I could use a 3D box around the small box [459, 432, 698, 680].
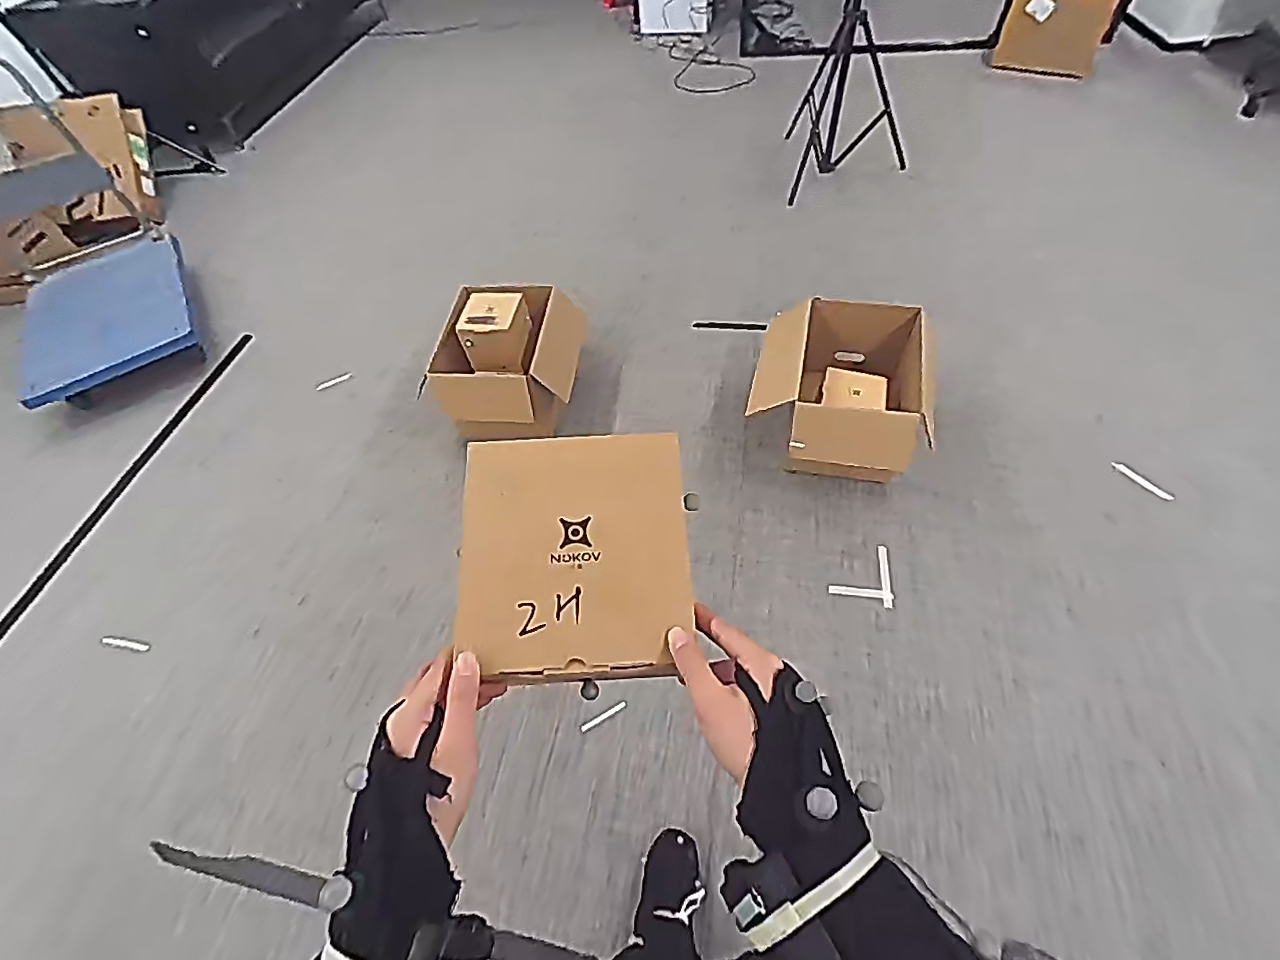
[{"bbox_3d":[-0.045,0.075,0.472,0.168,0.176,0.179,-3,68,-1],"label":"small box"}]
